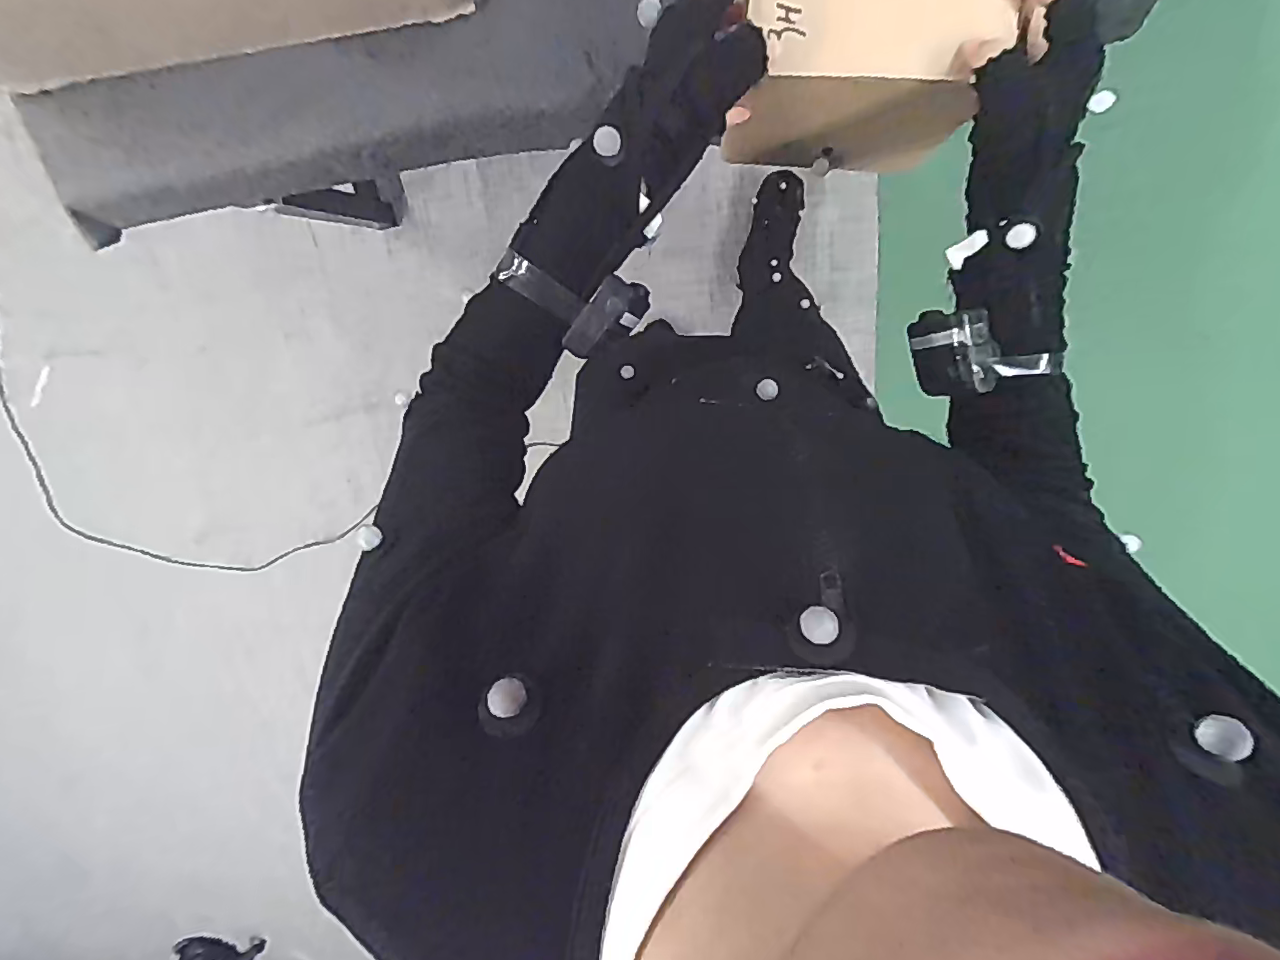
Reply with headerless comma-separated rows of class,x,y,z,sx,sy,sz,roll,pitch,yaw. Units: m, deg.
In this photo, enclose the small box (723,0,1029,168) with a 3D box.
small box,0.168,-0.361,0.420,0.179,0.176,0.168,5,103,2
